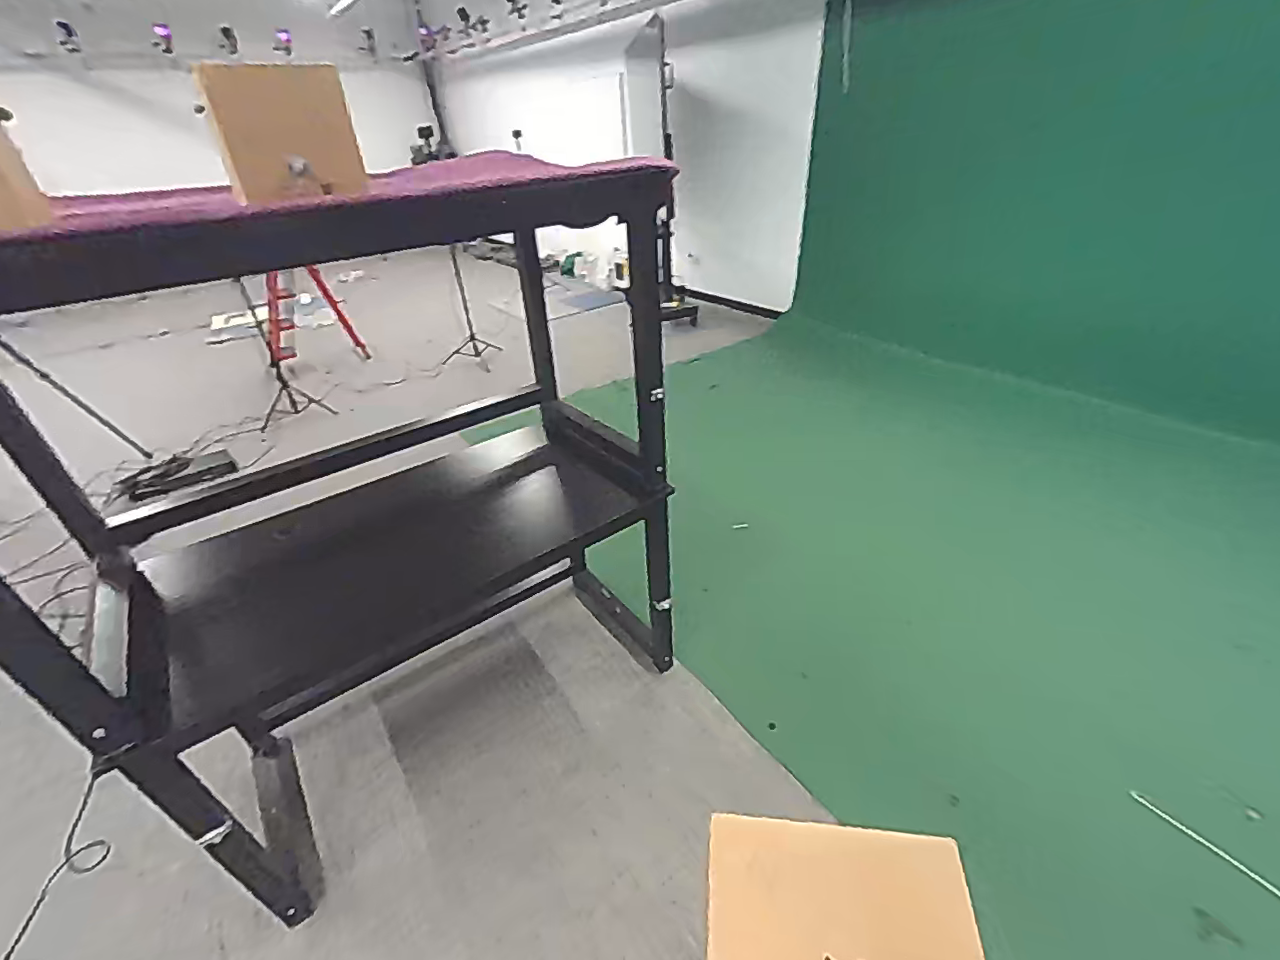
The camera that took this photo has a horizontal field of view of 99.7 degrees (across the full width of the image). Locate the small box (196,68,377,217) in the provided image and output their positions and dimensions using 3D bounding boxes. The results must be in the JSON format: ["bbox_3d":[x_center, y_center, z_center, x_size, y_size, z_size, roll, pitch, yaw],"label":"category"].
[{"bbox_3d":[-0.512,-0.489,0.790,0.168,0.176,0.179,-25,40,-28],"label":"small box"}]

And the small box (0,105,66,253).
[{"bbox_3d":[-0.799,-0.345,0.600,0.168,0.176,0.179,-25,38,-29],"label":"small box"}]

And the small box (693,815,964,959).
[{"bbox_3d":[0.121,0.365,0.383,0.168,0.176,0.179,1,47,7],"label":"small box"}]
